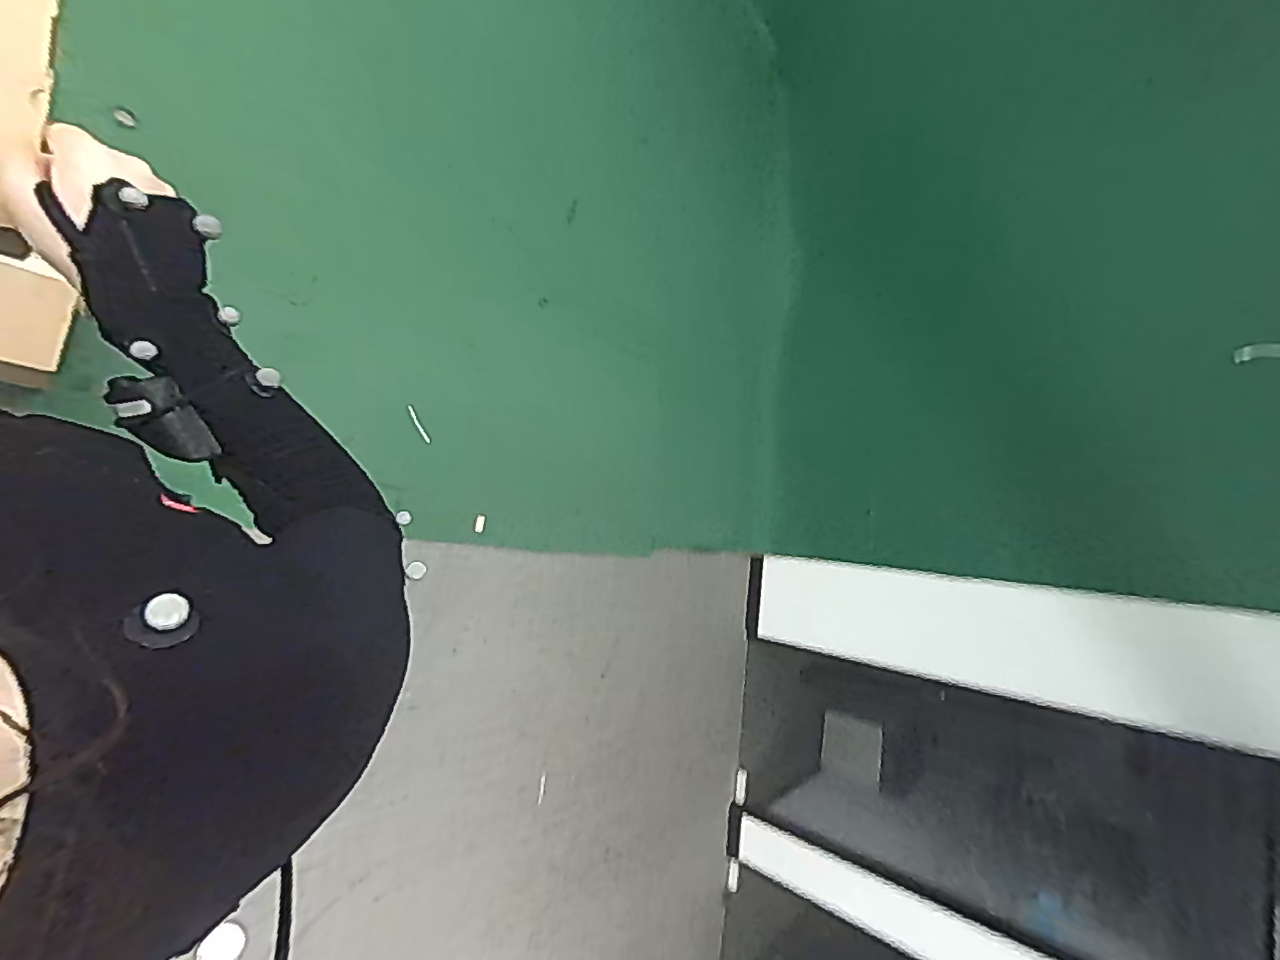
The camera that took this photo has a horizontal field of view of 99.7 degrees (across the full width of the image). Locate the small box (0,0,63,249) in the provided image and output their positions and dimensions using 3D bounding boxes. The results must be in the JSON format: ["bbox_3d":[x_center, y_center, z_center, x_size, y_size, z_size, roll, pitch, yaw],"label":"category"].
[{"bbox_3d":[-0.478,-0.246,0.311,0.179,0.176,0.168,5,96,-52],"label":"small box"}]

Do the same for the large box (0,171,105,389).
[{"bbox_3d":[-1.135,-0.353,0.812,0.408,0.320,0.320,16,79,-49],"label":"large box"}]
